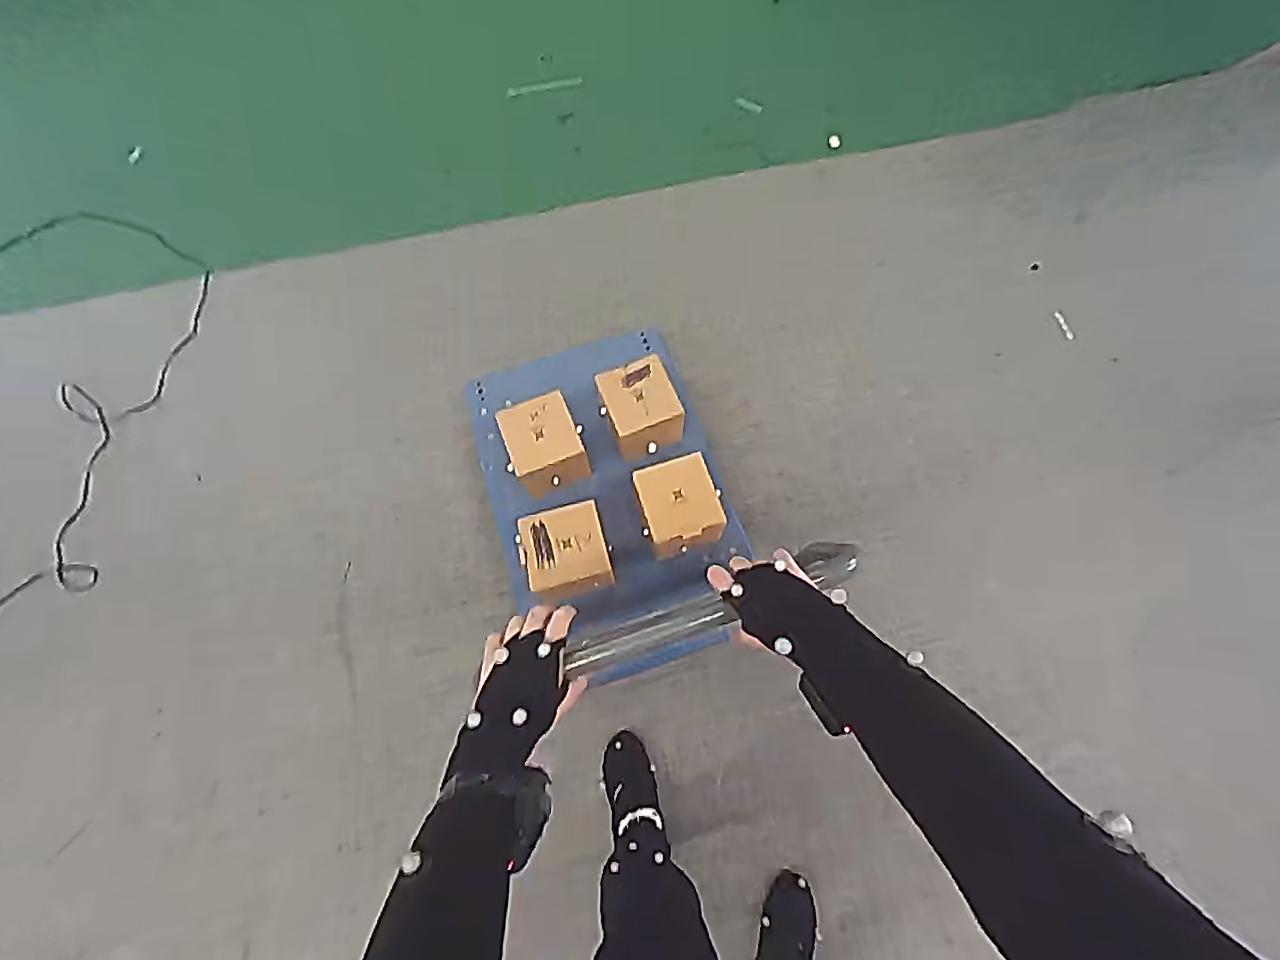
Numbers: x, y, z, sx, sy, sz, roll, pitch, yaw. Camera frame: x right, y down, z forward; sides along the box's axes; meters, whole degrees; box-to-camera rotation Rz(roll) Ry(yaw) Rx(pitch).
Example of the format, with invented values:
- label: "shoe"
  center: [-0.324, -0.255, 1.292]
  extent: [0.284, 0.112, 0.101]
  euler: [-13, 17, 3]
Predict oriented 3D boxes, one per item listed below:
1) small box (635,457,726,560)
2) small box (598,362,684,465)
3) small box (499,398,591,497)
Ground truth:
- label: "small box"
  center: [0.089, 0.074, 1.290]
  extent: [0.168, 0.176, 0.179]
  euler: [-17, 70, -5]
- label: "small box"
  center: [0.002, -0.166, 1.381]
  extent: [0.168, 0.176, 0.179]
  euler: [-22, 71, -5]
- label: "small box"
  center: [-0.230, -0.072, 1.353]
  extent: [0.168, 0.176, 0.179]
  euler: [-21, 70, -7]
